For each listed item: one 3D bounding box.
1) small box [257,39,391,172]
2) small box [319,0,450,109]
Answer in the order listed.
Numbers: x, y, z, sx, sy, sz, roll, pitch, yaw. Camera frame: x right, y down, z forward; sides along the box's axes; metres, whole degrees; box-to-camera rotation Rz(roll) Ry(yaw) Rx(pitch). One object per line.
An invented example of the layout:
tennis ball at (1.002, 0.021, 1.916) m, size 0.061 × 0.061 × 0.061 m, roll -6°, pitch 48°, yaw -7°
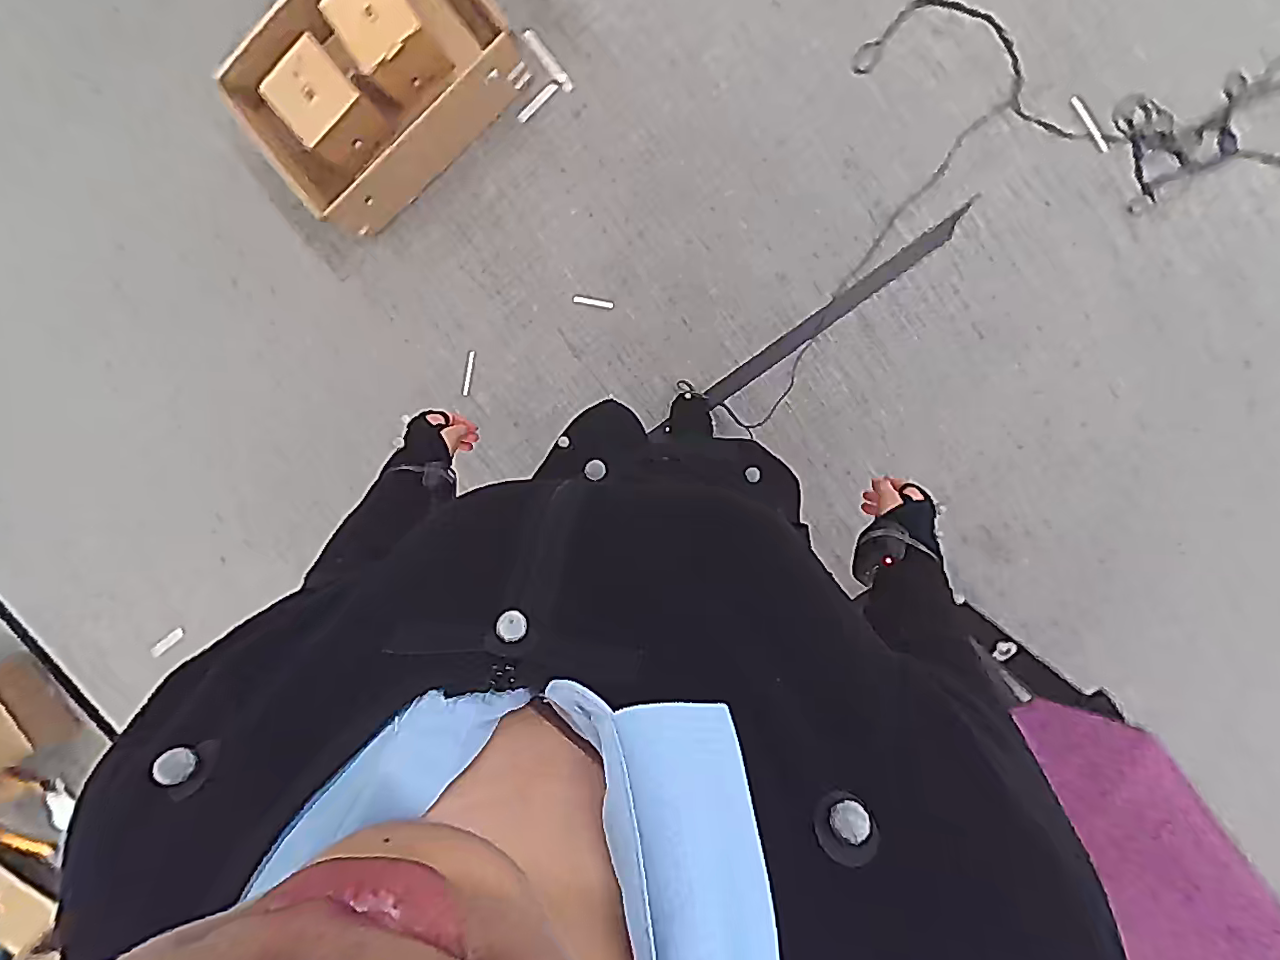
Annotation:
small box at (-0.737, -0.869, 1.283) m, size 0.168 × 0.176 × 0.179 m, roll -39°, pitch 94°, yaw 9°
small box at (-0.579, -1.015, 1.245) m, size 0.168 × 0.176 × 0.179 m, roll -32°, pitch 96°, yaw 11°
